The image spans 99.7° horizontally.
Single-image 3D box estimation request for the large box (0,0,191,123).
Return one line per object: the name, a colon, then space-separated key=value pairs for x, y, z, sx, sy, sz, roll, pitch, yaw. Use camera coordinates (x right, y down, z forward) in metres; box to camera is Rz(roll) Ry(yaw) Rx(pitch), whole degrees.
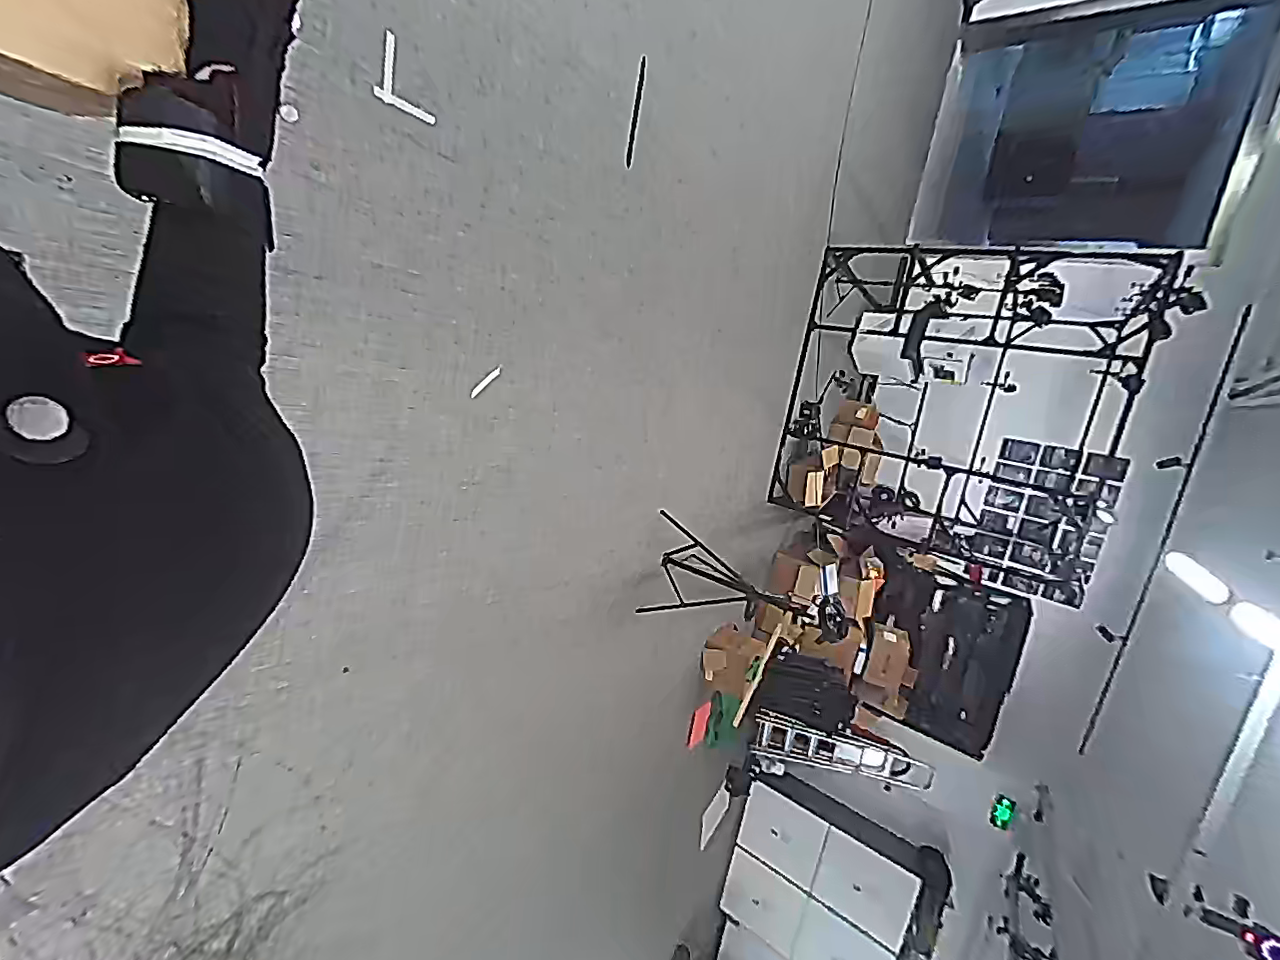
large box: x=-0.520 y=-0.433 z=0.262 sx=0.408 sy=0.320 sz=0.320 roll=-8 pitch=118 yaw=-56
